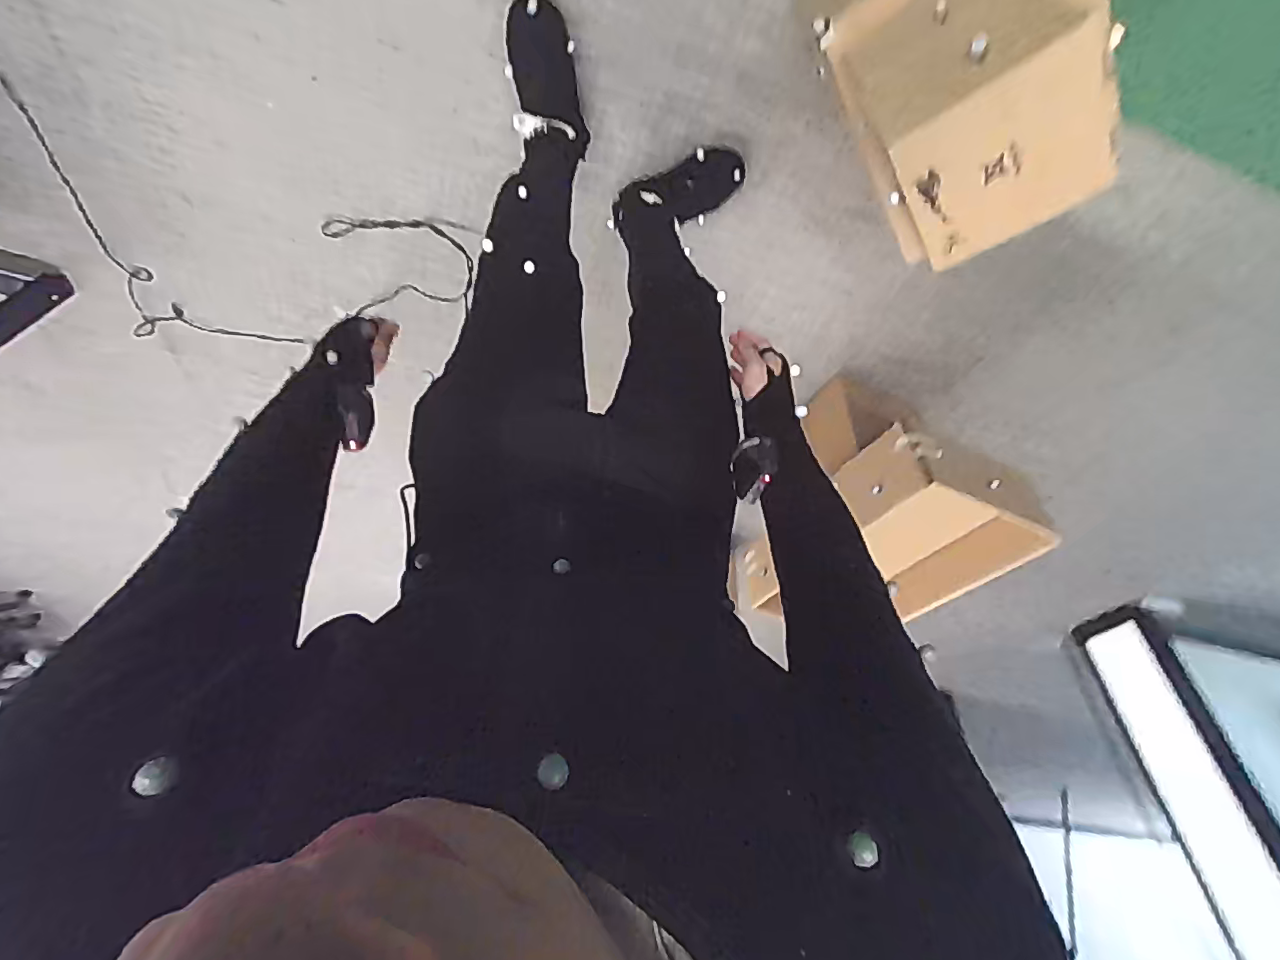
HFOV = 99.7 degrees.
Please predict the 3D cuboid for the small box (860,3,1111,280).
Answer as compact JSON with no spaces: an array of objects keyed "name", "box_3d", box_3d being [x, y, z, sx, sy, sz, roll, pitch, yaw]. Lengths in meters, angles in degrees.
[{"name":"small box","box_3d":[0.369,-0.369,0.596,0.179,0.176,0.168,-24,133,29]}]
